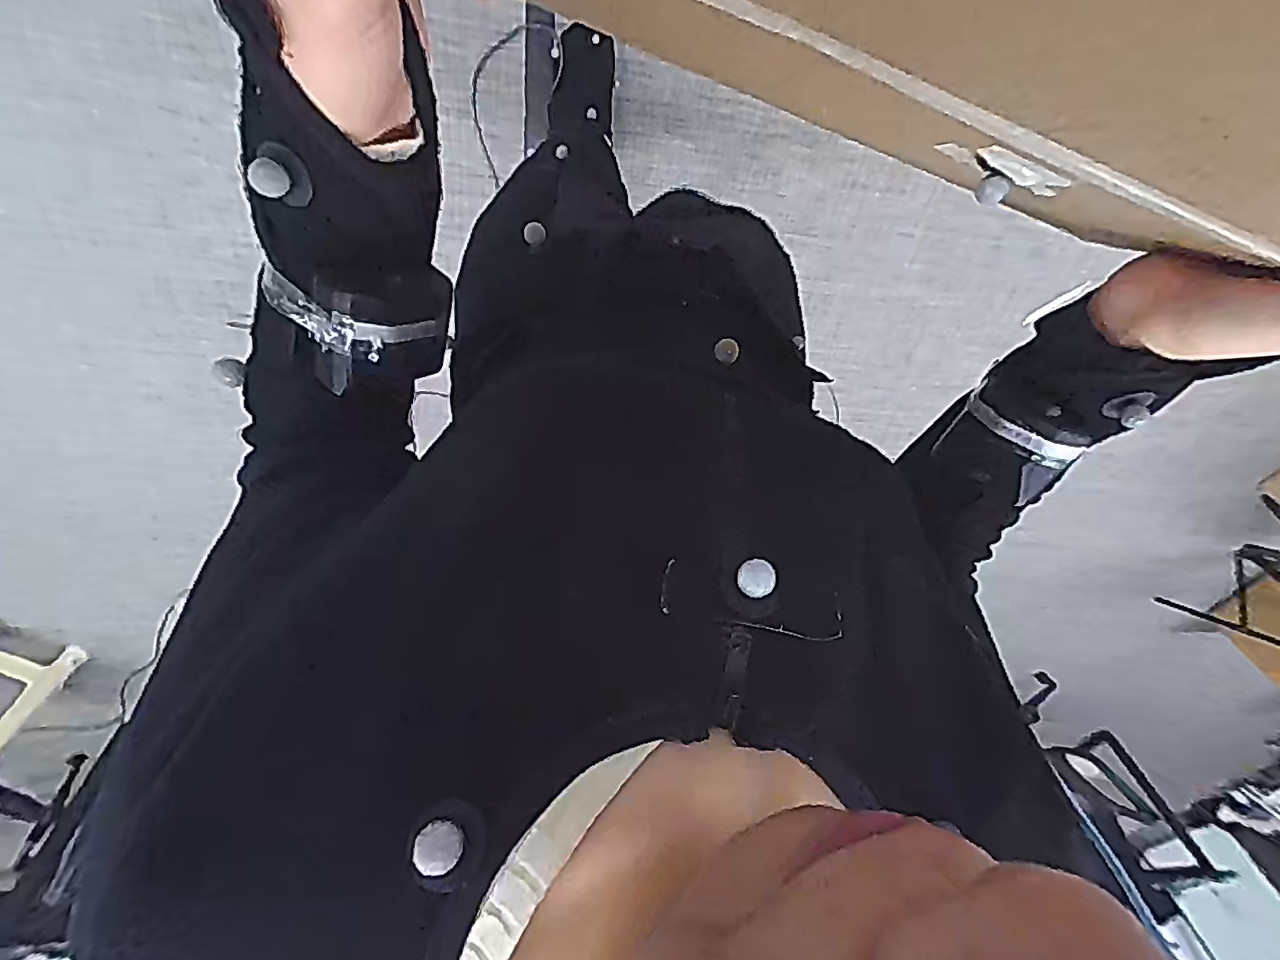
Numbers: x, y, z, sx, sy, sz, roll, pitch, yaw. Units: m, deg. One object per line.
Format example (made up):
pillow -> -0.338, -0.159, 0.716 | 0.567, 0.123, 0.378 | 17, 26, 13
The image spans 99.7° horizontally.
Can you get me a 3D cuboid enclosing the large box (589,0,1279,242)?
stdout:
large box -> 0.144, -0.269, 0.101 | 0.408, 0.320, 0.320 | 15, 119, -9
